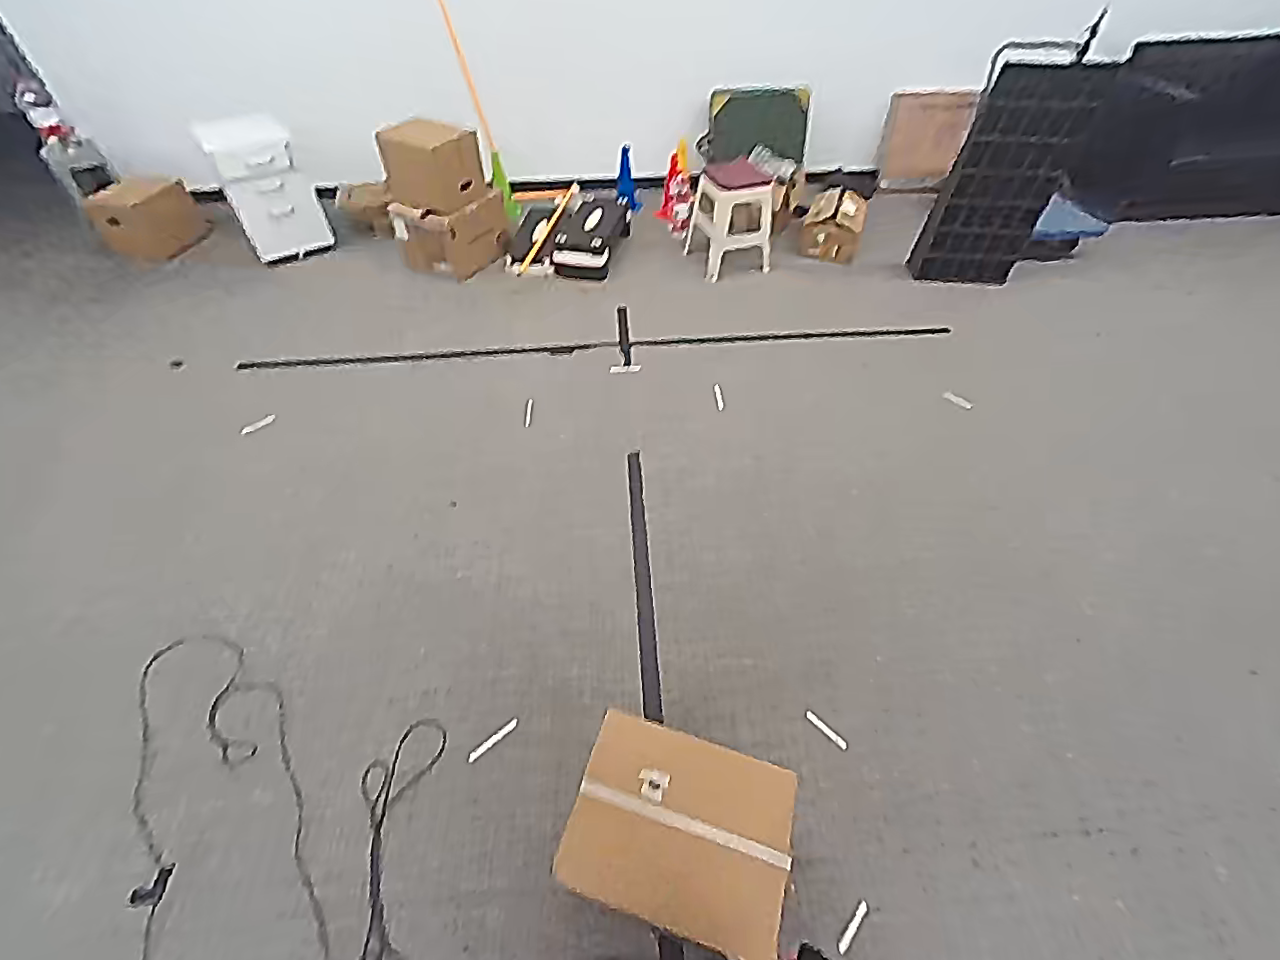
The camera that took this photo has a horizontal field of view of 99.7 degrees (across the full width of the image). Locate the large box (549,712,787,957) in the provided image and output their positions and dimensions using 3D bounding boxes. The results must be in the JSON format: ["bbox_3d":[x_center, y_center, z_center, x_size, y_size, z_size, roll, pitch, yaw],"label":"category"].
[{"bbox_3d":[0.071,0.738,1.139,0.408,0.320,0.320,12,50,11],"label":"large box"}]
